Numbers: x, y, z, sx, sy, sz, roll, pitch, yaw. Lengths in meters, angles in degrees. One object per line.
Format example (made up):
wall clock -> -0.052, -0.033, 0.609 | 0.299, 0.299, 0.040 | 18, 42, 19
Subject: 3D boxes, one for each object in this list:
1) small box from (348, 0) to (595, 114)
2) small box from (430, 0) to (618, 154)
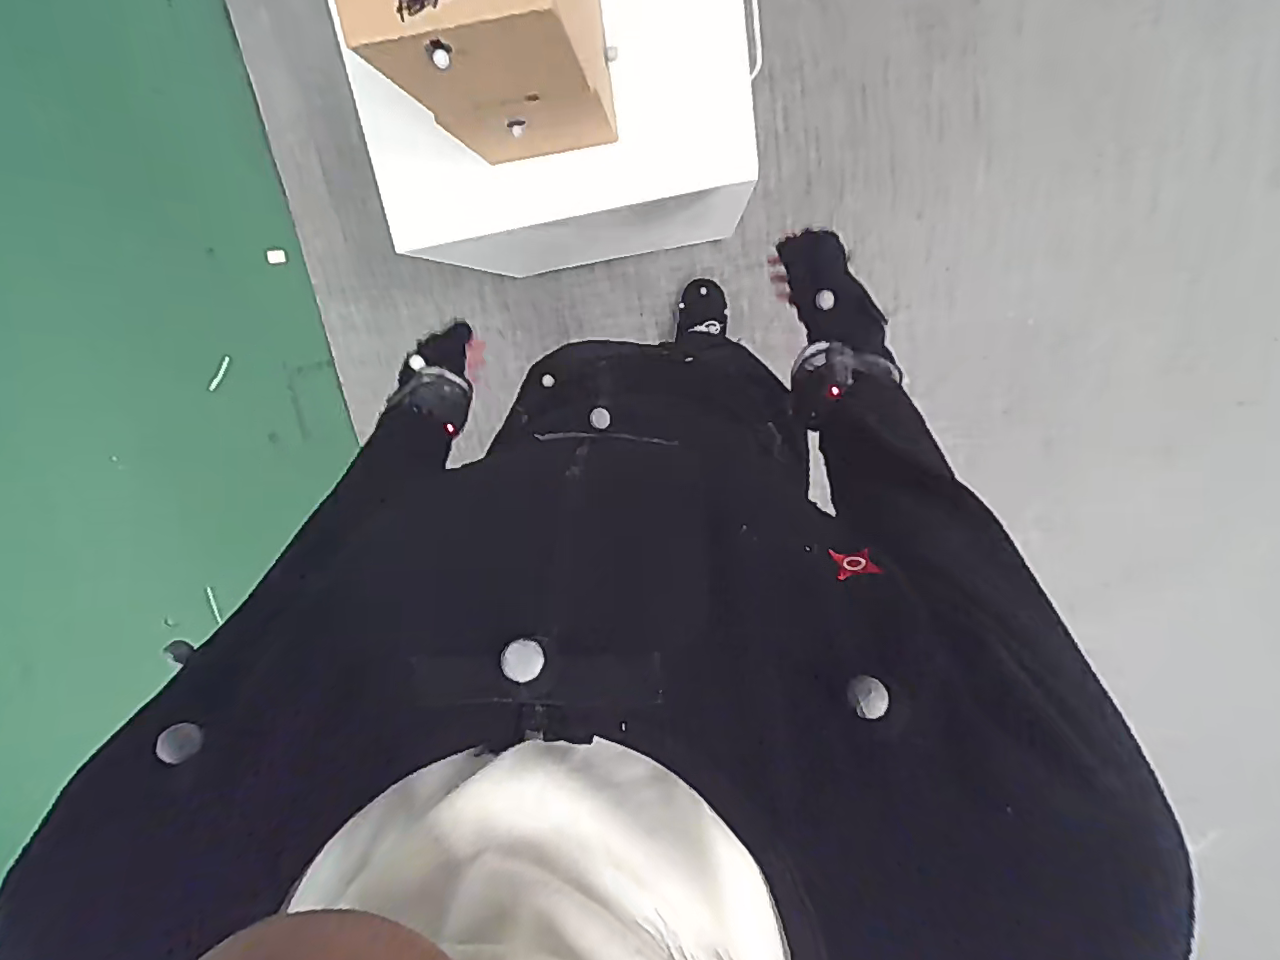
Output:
small box -> -0.140, -0.447, 0.454 | 0.168, 0.176, 0.179 | -7, 107, 7
small box -> -0.131, -0.490, 0.609 | 0.179, 0.176, 0.168 | -5, 106, 7
